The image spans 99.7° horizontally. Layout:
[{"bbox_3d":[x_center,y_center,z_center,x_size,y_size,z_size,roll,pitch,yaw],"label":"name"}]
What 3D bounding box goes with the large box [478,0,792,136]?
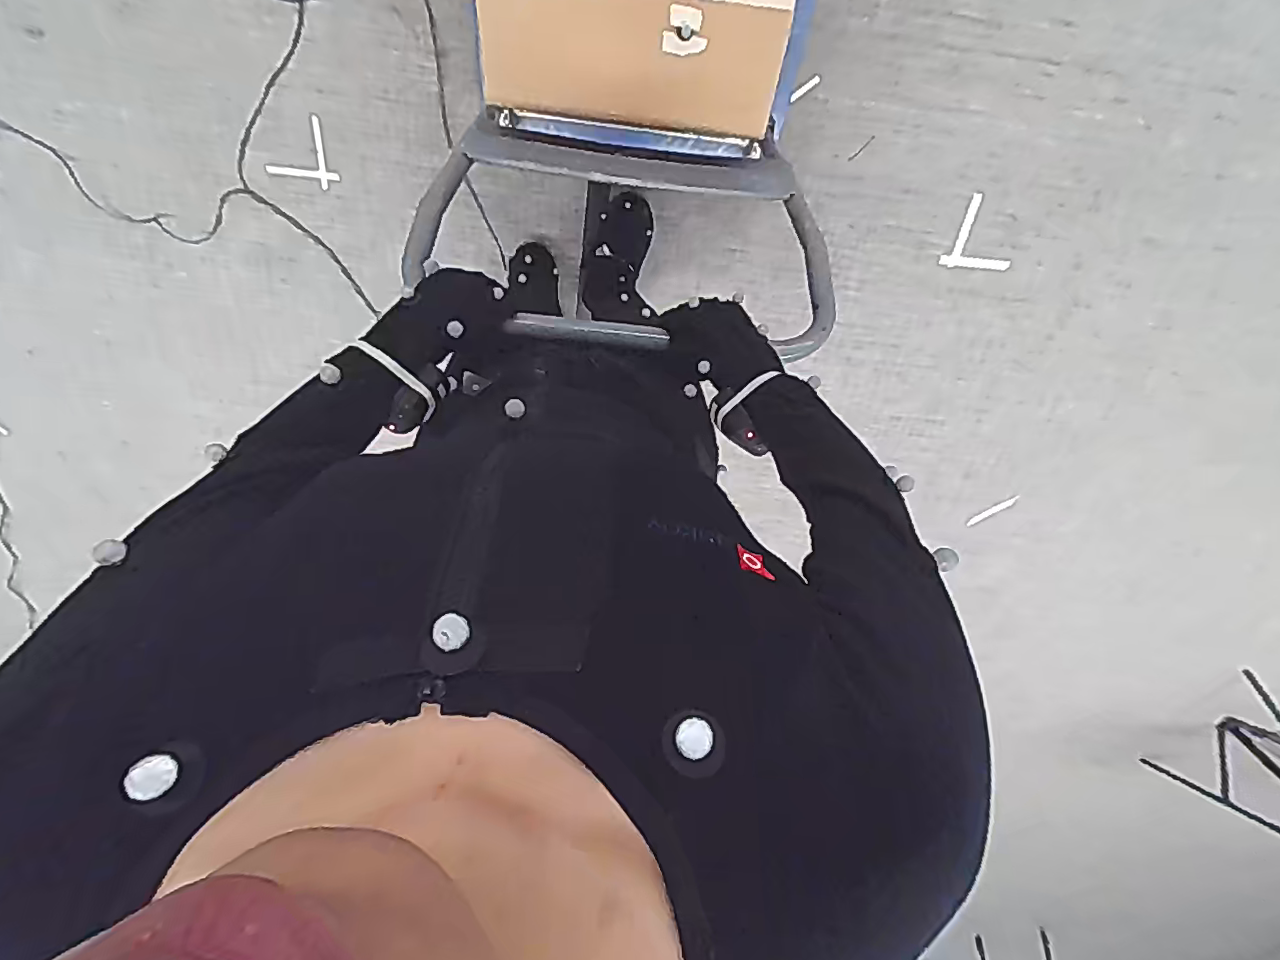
[{"bbox_3d":[-0.007,-0.723,0.771,0.408,0.320,0.320,4,136,-5],"label":"large box"}]
